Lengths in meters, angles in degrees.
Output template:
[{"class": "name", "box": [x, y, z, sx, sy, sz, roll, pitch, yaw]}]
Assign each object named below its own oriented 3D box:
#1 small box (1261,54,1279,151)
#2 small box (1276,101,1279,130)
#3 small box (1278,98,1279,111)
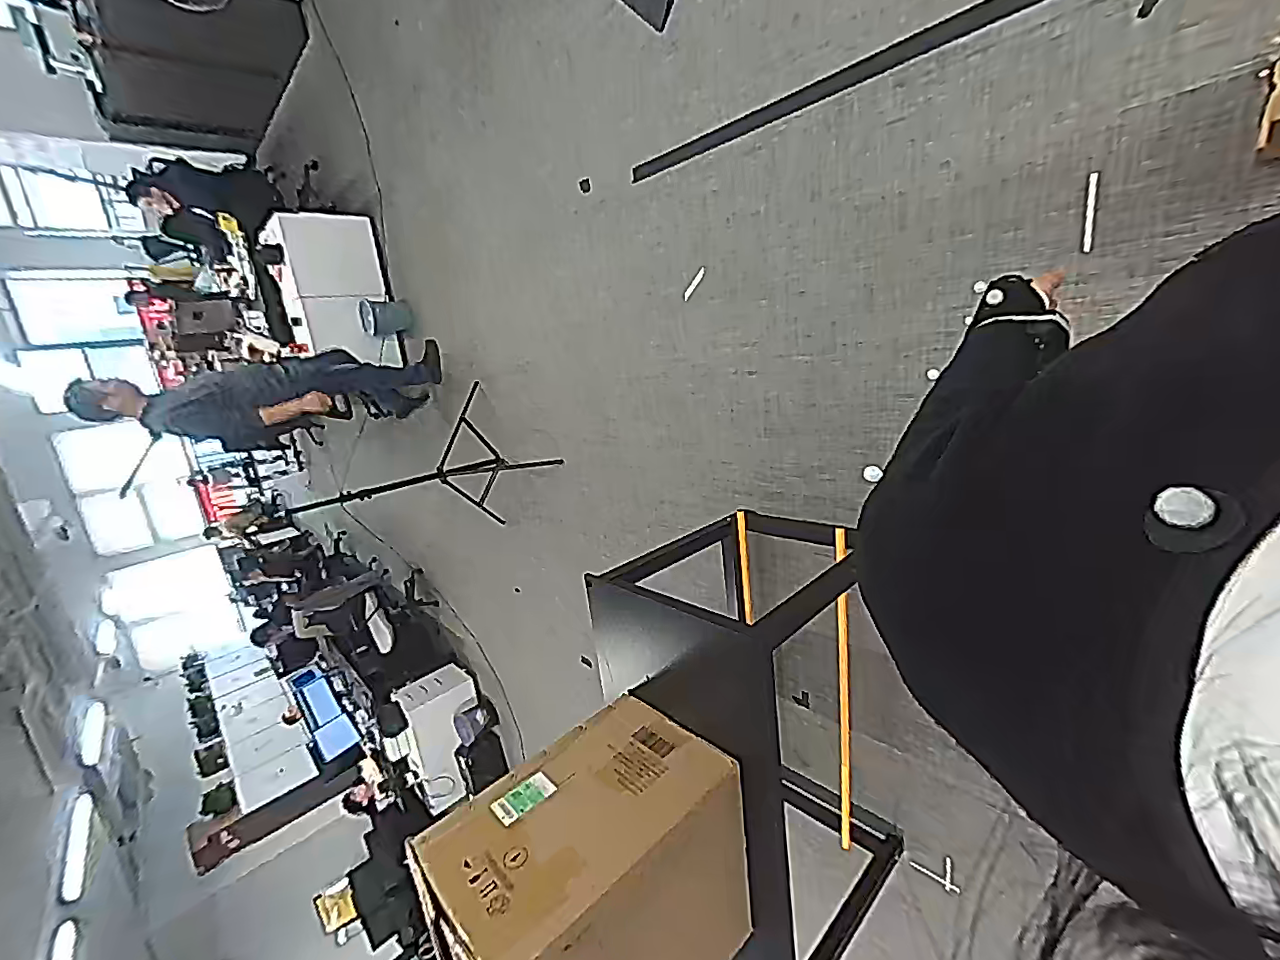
[{"class": "small box", "box": [1.069, -0.606, 0.799, 0.179, 0.176, 0.168, 13, 115, 45]}, {"class": "small box", "box": [0.954, -0.566, 0.688, 0.168, 0.176, 0.179, 14, 116, 45]}, {"class": "small box", "box": [0.839, -0.510, 0.588, 0.168, 0.176, 0.179, 14, 117, 46]}]
